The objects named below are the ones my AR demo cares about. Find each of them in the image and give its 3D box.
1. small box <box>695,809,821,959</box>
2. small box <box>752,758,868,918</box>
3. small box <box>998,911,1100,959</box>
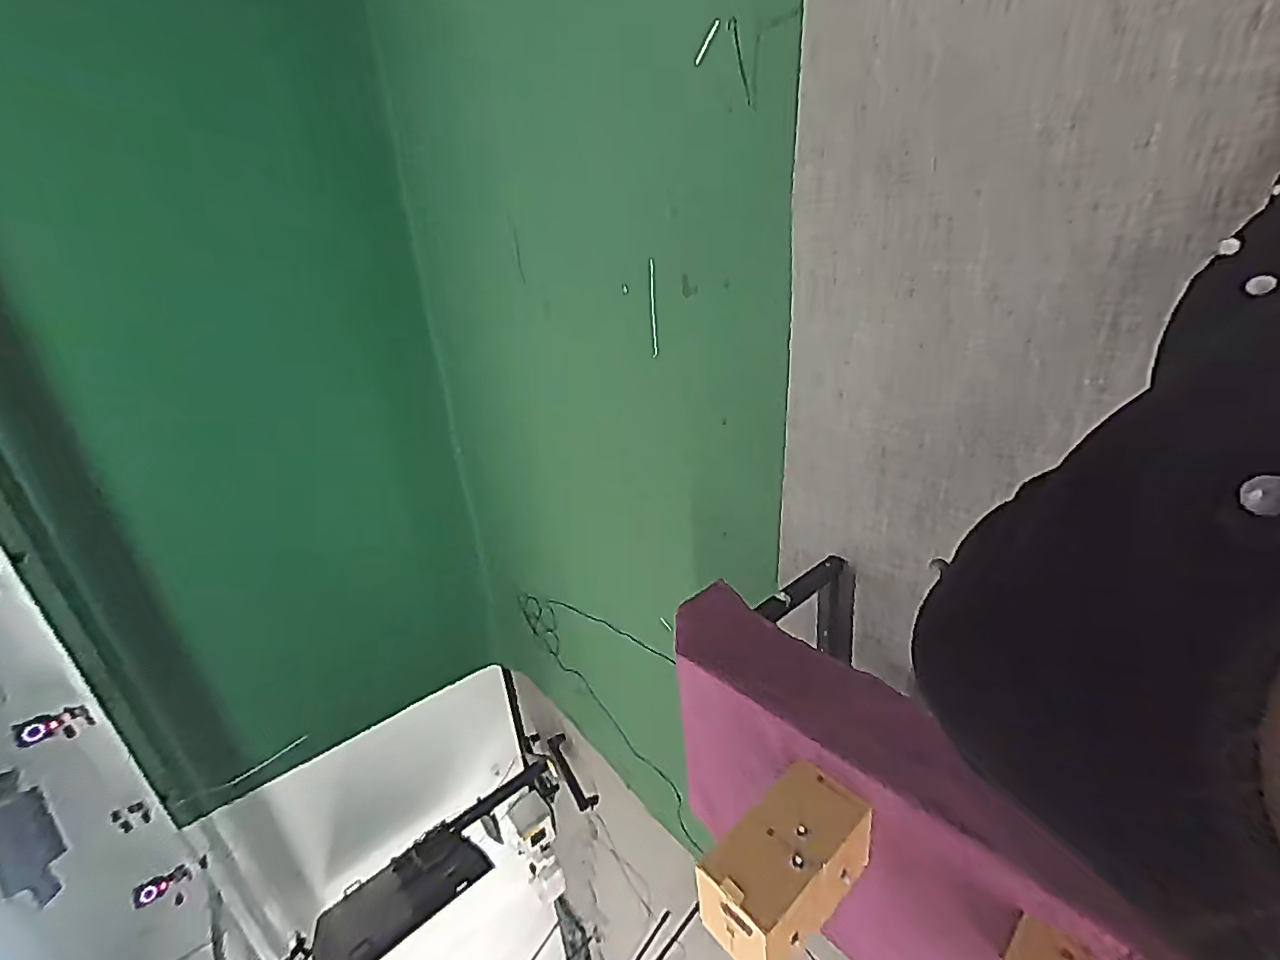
[{"bbox_3d":[0.225,0.777,1.022,0.168,0.176,0.179,18,122,48],"label":"small box"},{"bbox_3d":[0.351,0.727,1.115,0.168,0.176,0.179,18,122,46],"label":"small box"},{"bbox_3d":[0.621,0.815,0.805,0.168,0.176,0.179,20,122,46],"label":"small box"}]
